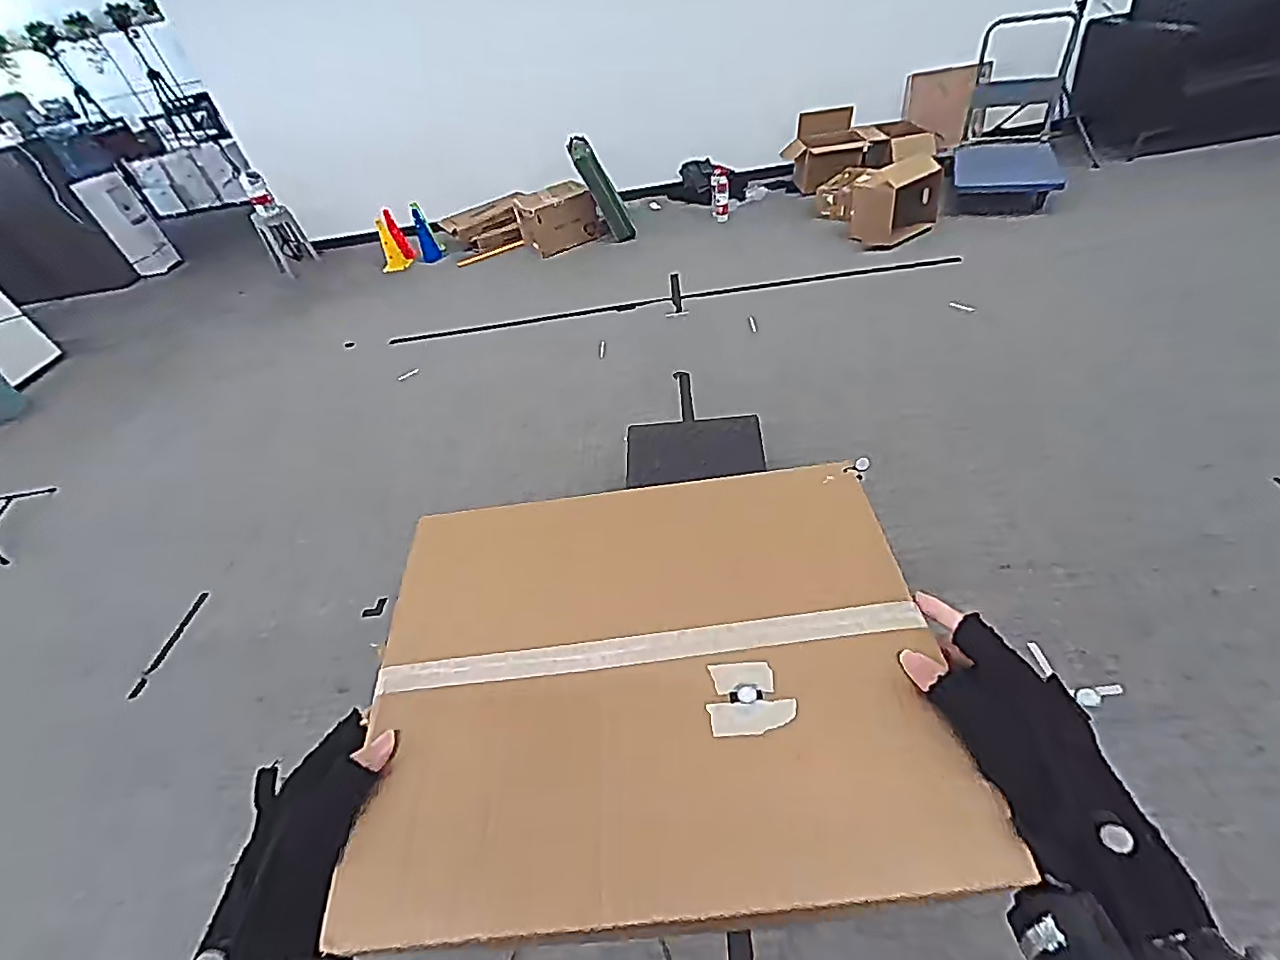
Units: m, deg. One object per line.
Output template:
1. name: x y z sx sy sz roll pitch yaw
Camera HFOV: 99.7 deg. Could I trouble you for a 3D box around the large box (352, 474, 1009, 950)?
1. large box: 0.024 0.231 0.527 0.408 0.320 0.320 -7 49 2
